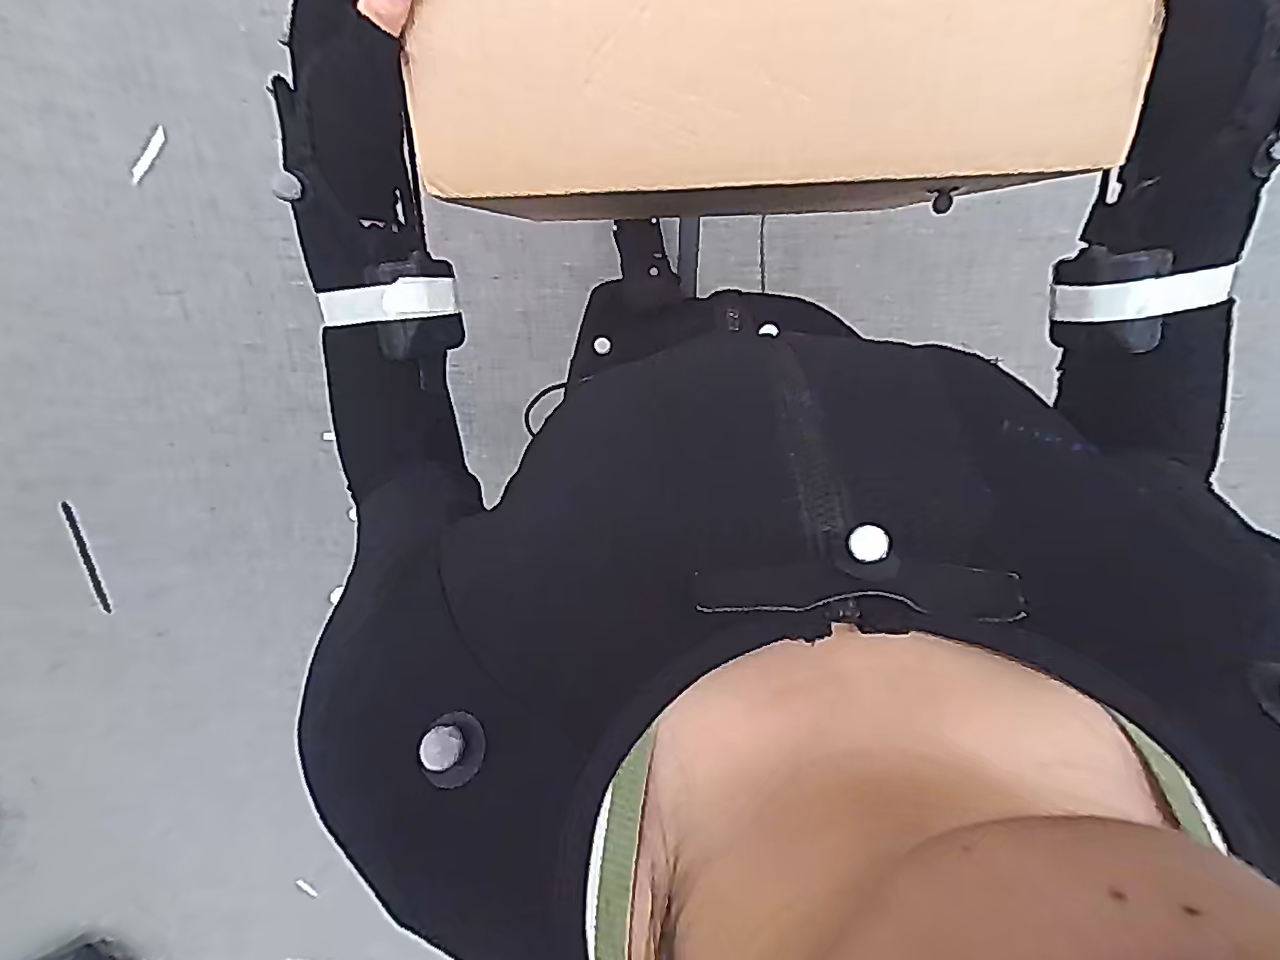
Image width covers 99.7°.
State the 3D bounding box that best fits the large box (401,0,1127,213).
[{"bbox_3d":[0.067,-0.383,0.403,0.408,0.320,0.320,-2,113,1],"label":"large box"}]
